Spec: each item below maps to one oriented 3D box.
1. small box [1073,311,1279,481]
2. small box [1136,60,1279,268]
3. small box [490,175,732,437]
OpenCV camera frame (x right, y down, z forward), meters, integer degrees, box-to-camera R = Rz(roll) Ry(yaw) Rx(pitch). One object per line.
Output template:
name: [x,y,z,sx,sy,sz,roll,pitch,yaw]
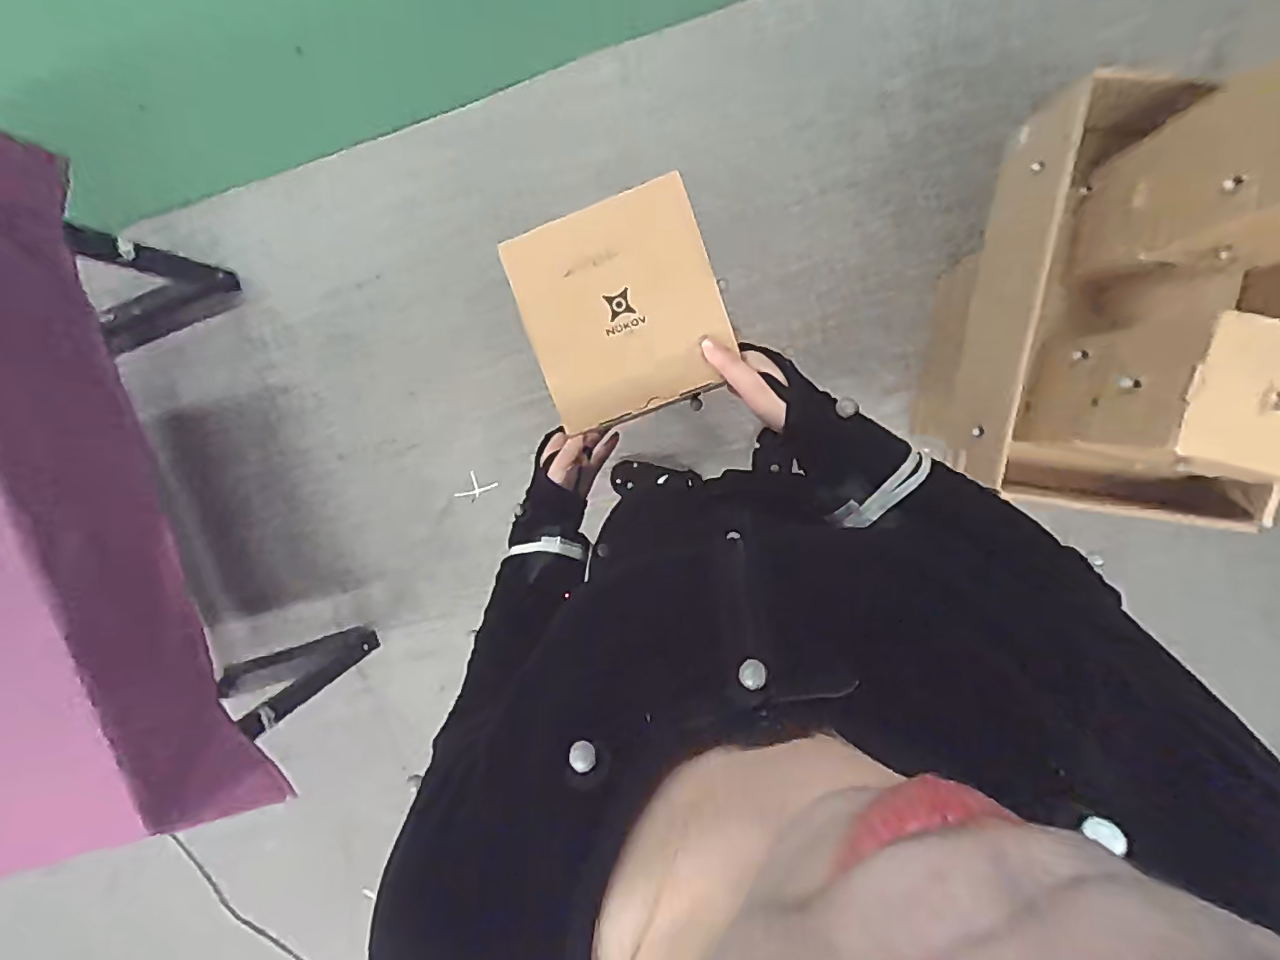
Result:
small box: [0.718,-0.101,0.696,0.179,0.176,0.168,15,99,4]
small box: [0.768,-0.377,0.660,0.168,0.176,0.179,7,99,5]
small box: [-0.018,-0.155,0.536,0.168,0.176,0.179,-19,96,5]
